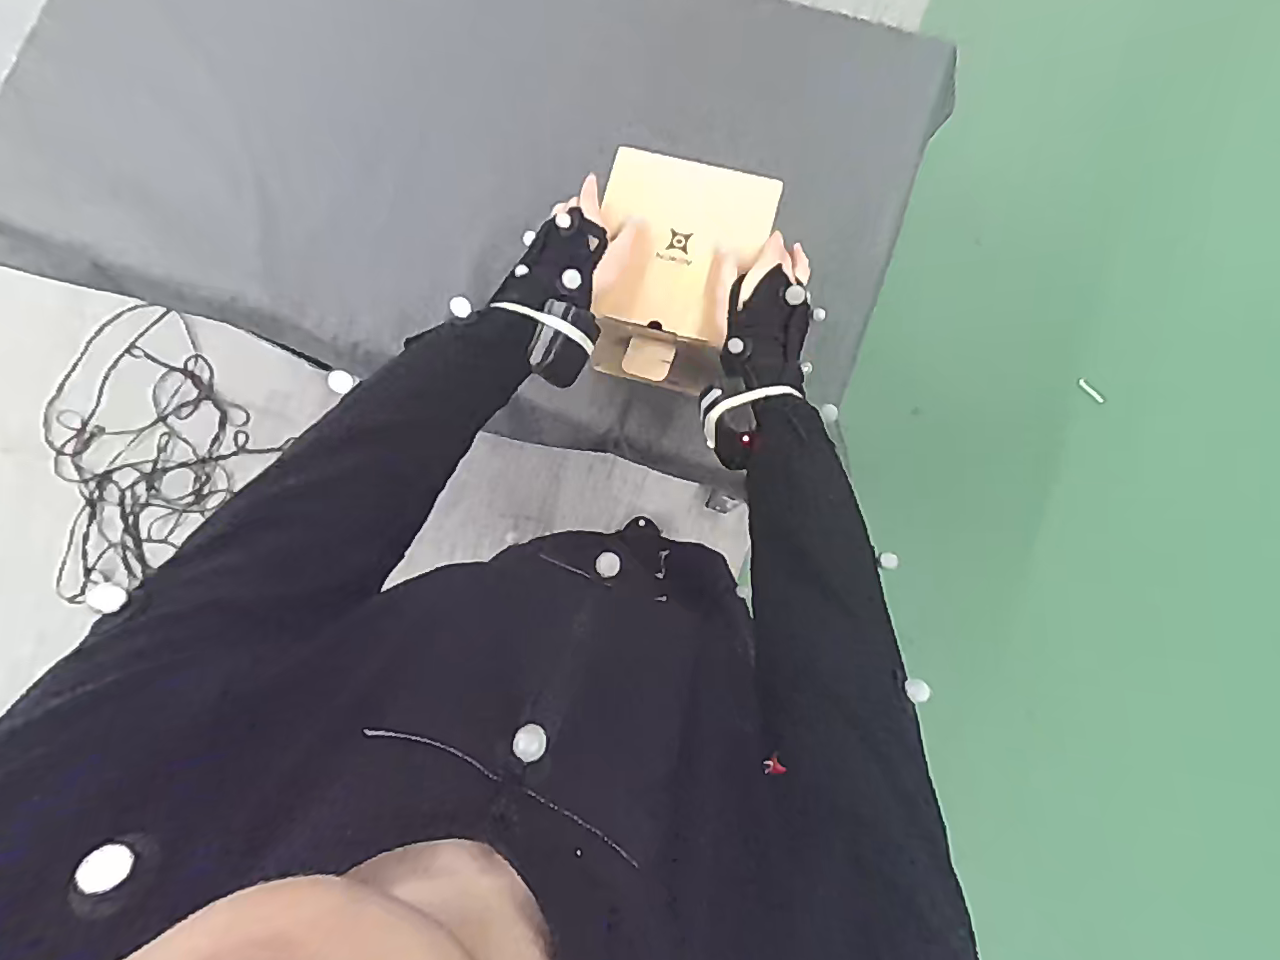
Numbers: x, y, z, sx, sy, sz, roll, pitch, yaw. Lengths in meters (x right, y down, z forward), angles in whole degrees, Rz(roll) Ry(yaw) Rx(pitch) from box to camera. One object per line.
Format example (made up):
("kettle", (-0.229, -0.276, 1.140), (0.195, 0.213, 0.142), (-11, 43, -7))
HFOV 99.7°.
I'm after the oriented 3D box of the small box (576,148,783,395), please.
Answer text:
("small box", (0.039, -0.212, 0.594), (0.168, 0.176, 0.179), (15, 85, 2))
